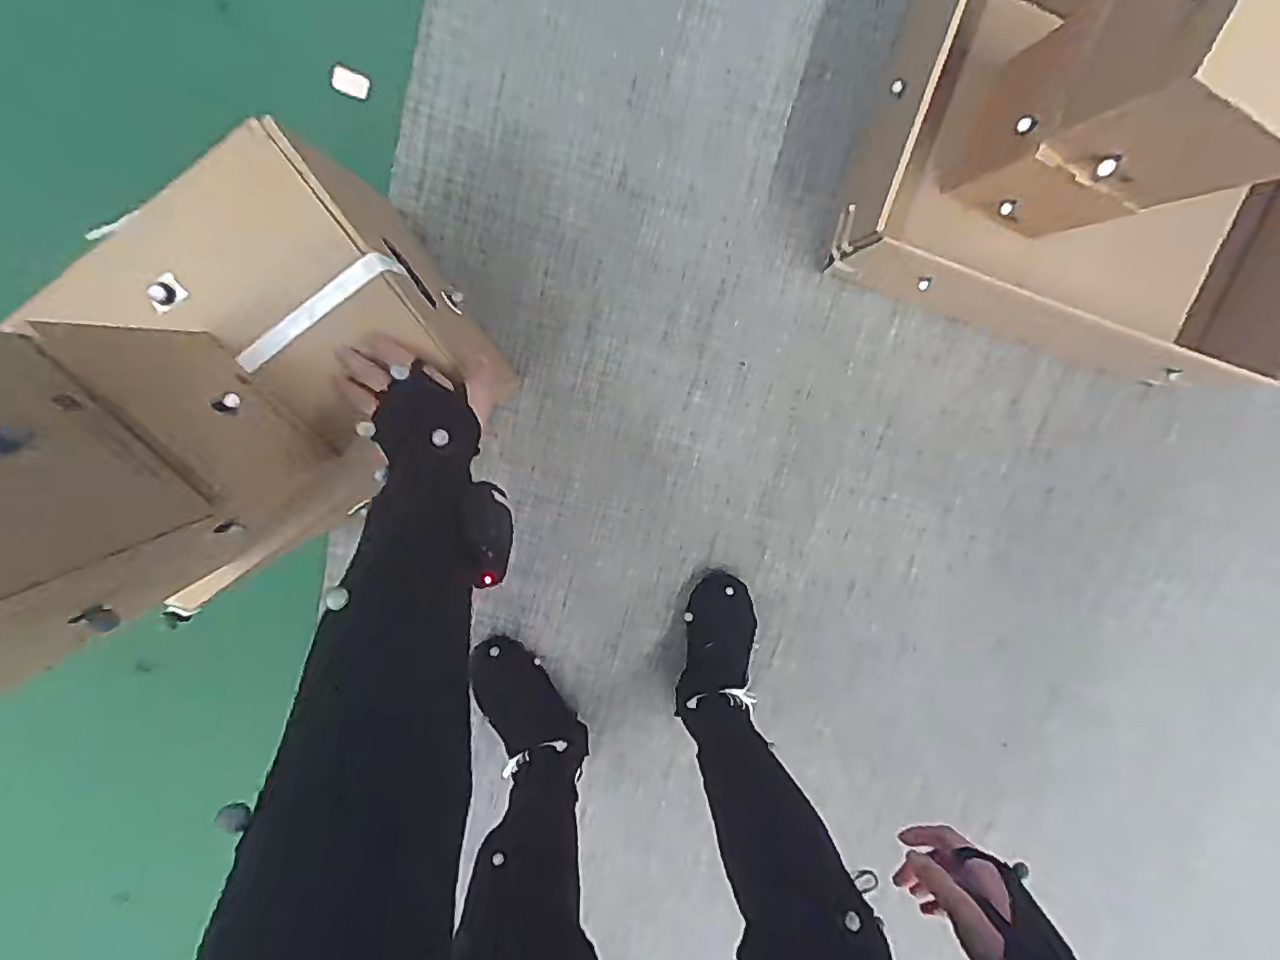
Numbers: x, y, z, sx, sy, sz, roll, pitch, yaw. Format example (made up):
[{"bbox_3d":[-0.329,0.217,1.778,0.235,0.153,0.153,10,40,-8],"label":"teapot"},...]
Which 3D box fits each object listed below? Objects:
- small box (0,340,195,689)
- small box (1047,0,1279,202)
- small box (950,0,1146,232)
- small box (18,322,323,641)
[{"bbox_3d":[-0.408,0.033,0.299,0.179,0.176,0.168,-41,102,5],"label":"small box"},{"bbox_3d":[0.559,-0.409,0.528,0.168,0.176,0.179,23,101,-11],"label":"small box"},{"bbox_3d":[0.541,-0.444,0.687,0.168,0.176,0.179,18,103,-11],"label":"small box"},{"bbox_3d":[-0.410,-0.010,0.458,0.179,0.176,0.168,-41,101,5],"label":"small box"}]
